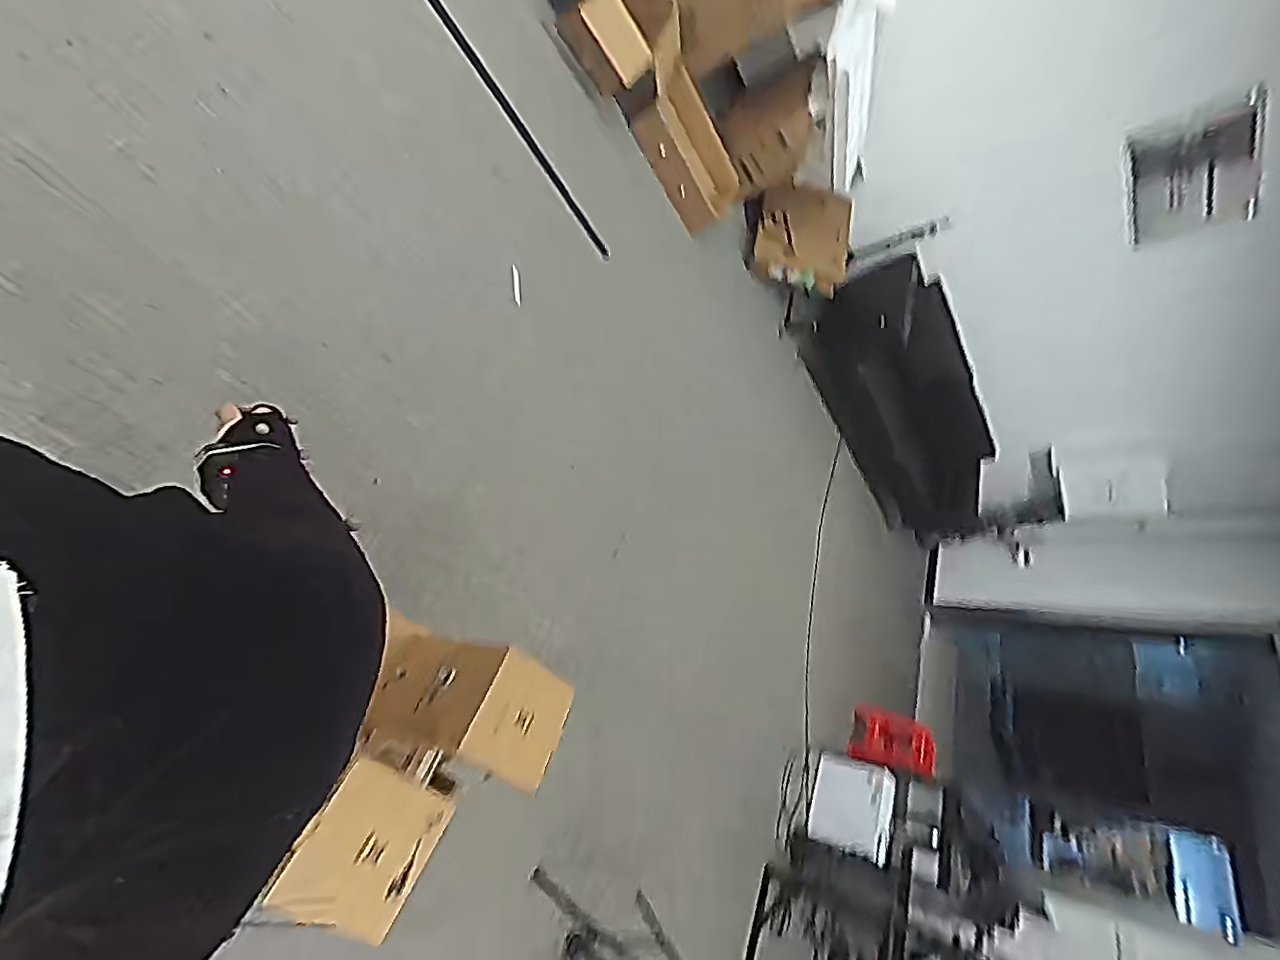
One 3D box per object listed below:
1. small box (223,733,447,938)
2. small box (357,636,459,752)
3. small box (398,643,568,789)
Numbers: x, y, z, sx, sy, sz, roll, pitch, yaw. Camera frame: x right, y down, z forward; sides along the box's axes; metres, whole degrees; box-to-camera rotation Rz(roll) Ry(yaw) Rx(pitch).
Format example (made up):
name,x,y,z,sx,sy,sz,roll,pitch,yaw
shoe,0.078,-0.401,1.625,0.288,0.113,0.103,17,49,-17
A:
name,x,y,z,sx,sy,sz,roll,pitch,yaw
small box,-0.409,0.462,0.728,0.179,0.176,0.168,51,50,-29
small box,-0.383,0.406,1.016,0.179,0.176,0.168,49,49,-32
small box,-0.261,0.387,0.910,0.179,0.176,0.168,49,49,-32
